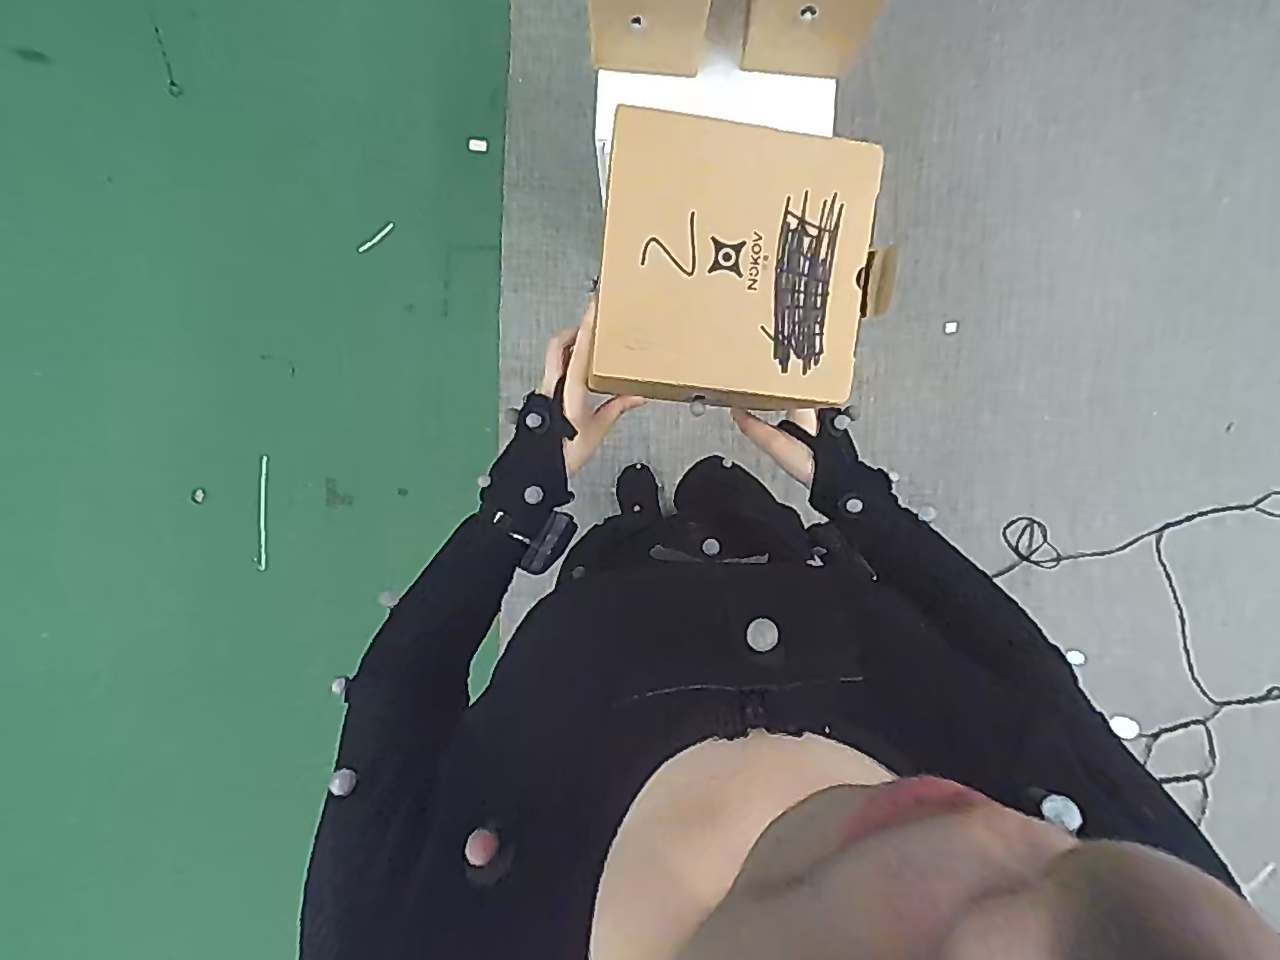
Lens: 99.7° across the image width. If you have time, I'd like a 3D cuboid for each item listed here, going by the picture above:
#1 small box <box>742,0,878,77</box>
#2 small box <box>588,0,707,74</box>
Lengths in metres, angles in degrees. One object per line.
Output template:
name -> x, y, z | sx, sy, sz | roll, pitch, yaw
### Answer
small box -> 0.257, -0.750, 0.813 | 0.179, 0.176, 0.168 | 5, 92, -1
small box -> 0.013, -0.750, 0.809 | 0.179, 0.176, 0.168 | 3, 92, -2
